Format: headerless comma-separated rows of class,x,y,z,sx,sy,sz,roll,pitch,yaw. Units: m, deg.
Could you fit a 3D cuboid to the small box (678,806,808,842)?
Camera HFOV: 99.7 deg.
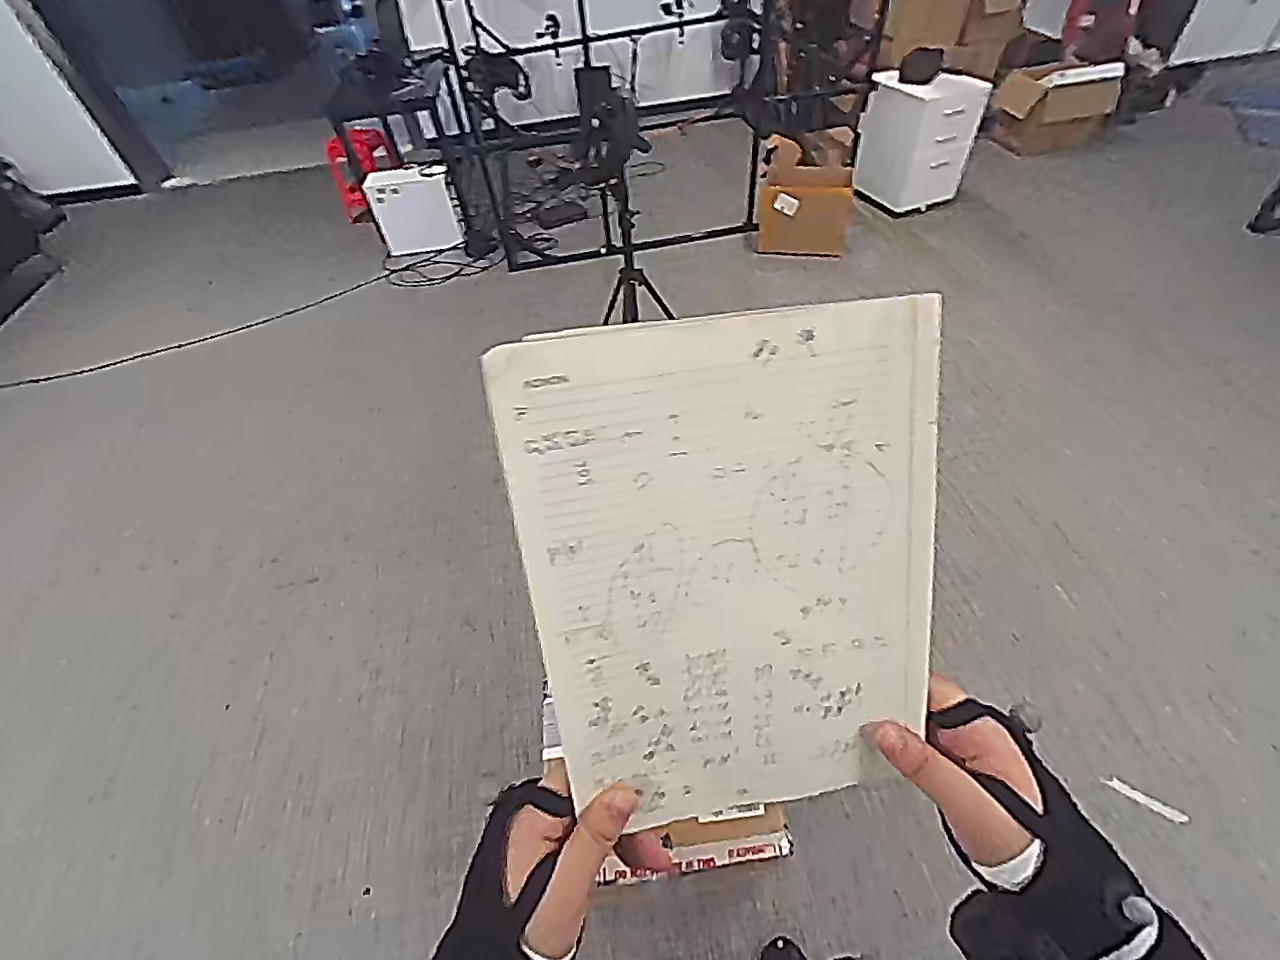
small box,0.137,0.448,0.843,0.179,0.176,0.168,-8,50,-3

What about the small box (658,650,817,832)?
small box,0.113,0.346,0.715,0.168,0.176,0.179,-4,51,-2
